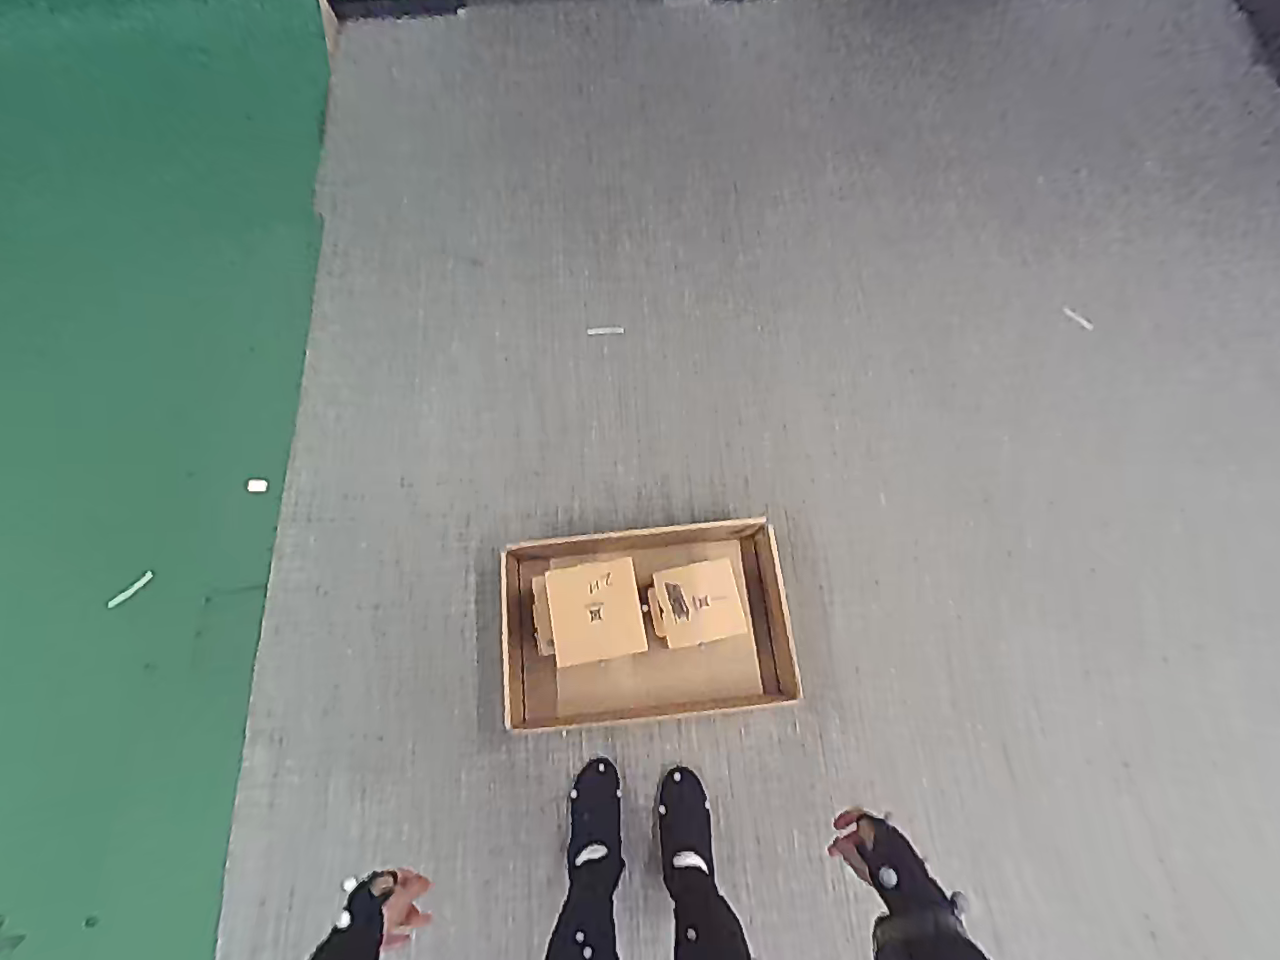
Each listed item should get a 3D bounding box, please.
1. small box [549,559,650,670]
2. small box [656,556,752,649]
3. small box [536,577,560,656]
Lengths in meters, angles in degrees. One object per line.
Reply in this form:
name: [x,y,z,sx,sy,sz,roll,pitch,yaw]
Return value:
small box: [-0.076,0.264,1.061,0.168,0.176,0.179,-10,74,-5]
small box: [0.137,0.282,1.223,0.179,0.176,0.168,-12,73,-3]
small box: [-0.127,0.301,1.220,0.179,0.176,0.168,-9,74,-4]
